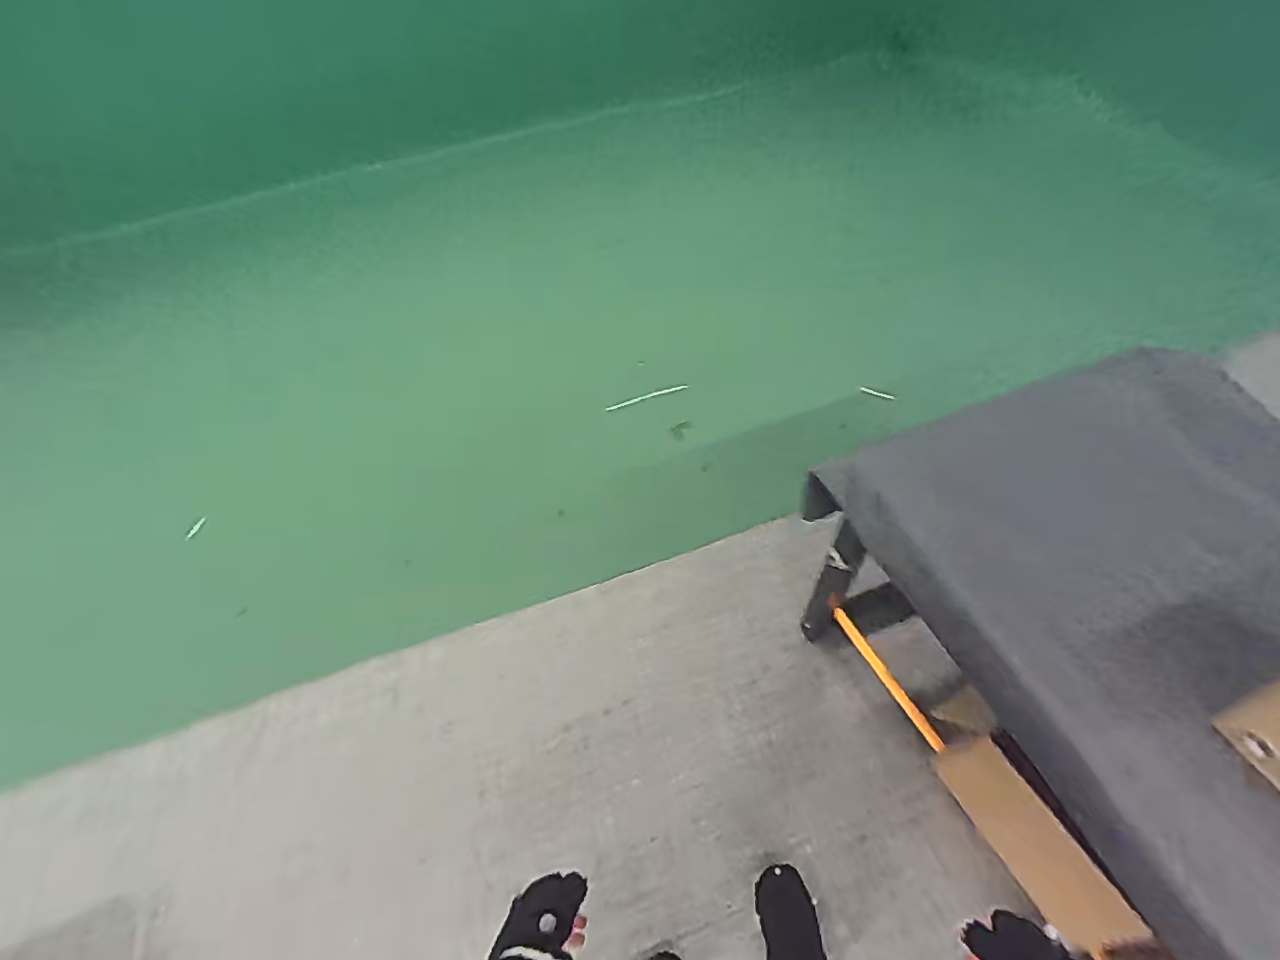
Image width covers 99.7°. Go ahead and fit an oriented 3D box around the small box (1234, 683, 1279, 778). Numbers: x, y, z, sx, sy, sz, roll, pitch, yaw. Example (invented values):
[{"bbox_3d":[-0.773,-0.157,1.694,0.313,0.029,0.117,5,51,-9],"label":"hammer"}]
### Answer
[{"bbox_3d":[0.769,0.264,0.531,0.179,0.176,0.168,-20,56,-9],"label":"small box"}]
